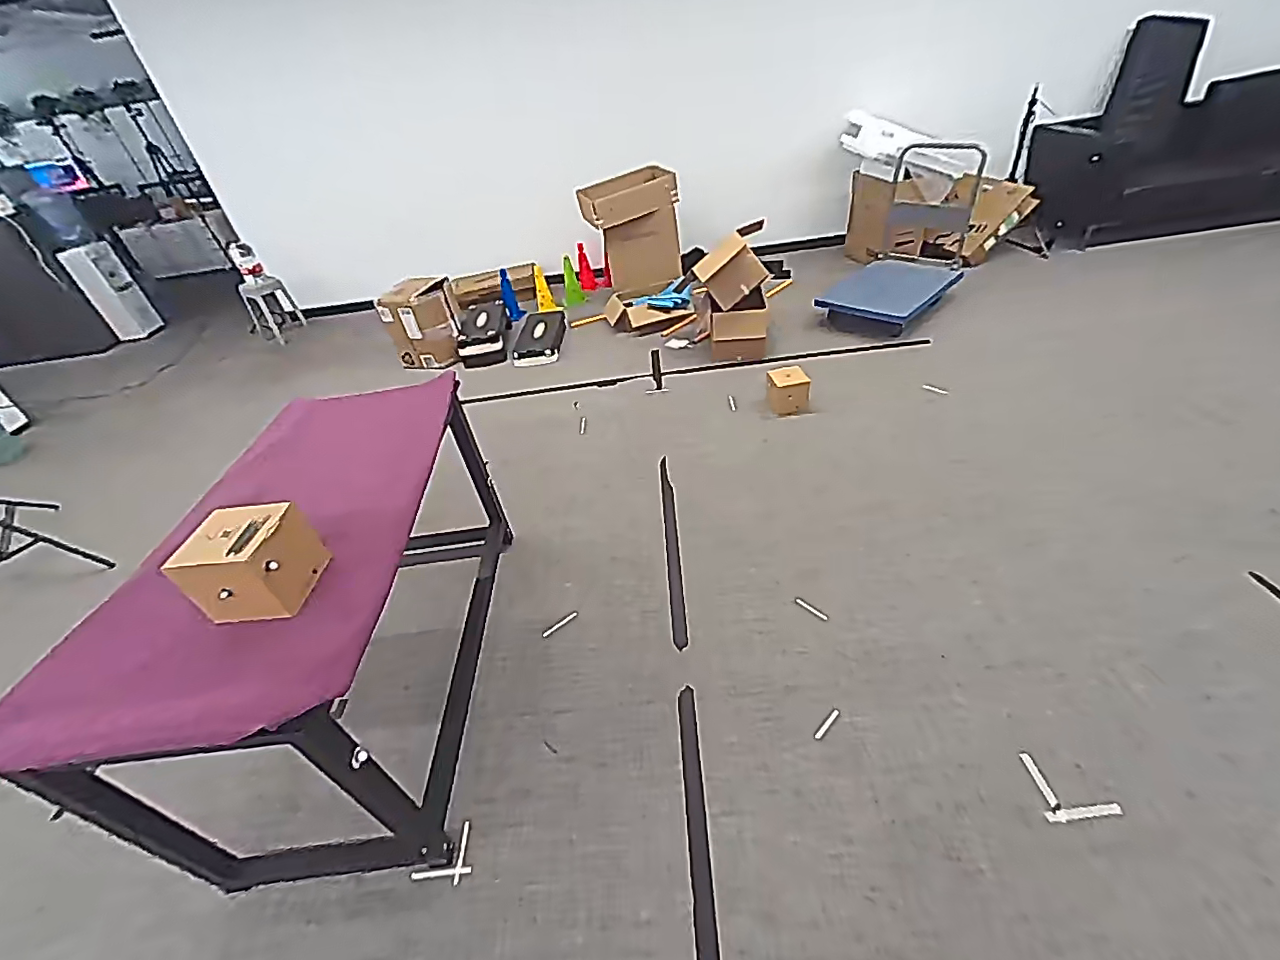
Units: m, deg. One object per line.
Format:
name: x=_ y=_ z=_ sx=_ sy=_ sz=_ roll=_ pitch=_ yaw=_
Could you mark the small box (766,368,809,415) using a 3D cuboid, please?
small box: x=0.751 y=-0.446 z=2.759 sx=0.168 sy=0.176 sz=0.179 roll=-11 pitch=38 yaw=-3
